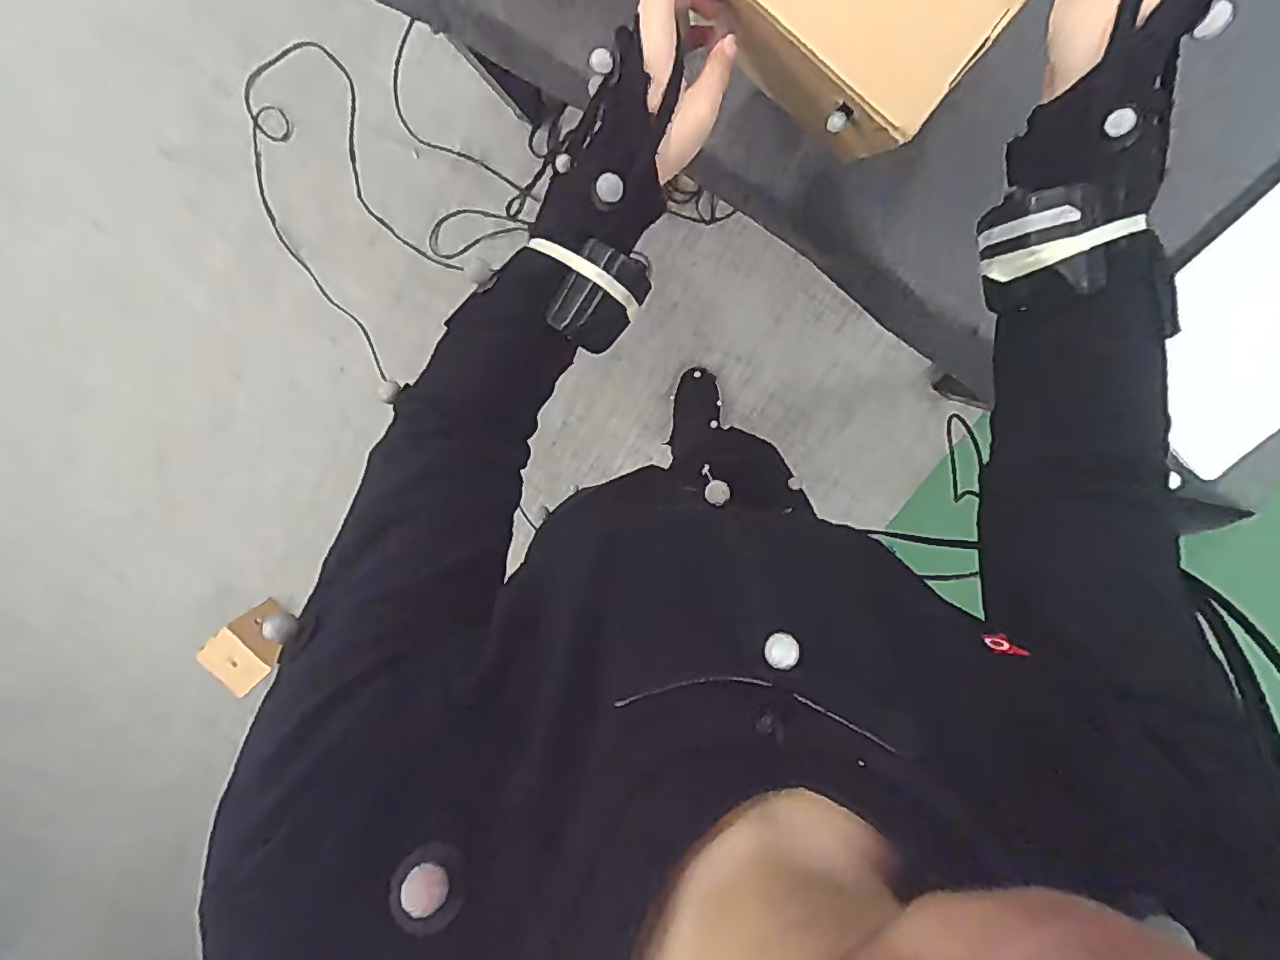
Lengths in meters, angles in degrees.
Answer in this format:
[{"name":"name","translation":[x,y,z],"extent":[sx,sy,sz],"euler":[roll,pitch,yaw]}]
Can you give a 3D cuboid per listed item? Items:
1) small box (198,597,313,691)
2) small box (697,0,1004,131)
[{"name":"small box","translation":[-1.119,0.469,1.586],"extent":[0.168,0.176,0.179],"euler":[-40,100,16]},{"name":"small box","translation":[0.145,-0.356,0.344],"extent":[0.179,0.176,0.168],"euler":[33,116,-11]}]
